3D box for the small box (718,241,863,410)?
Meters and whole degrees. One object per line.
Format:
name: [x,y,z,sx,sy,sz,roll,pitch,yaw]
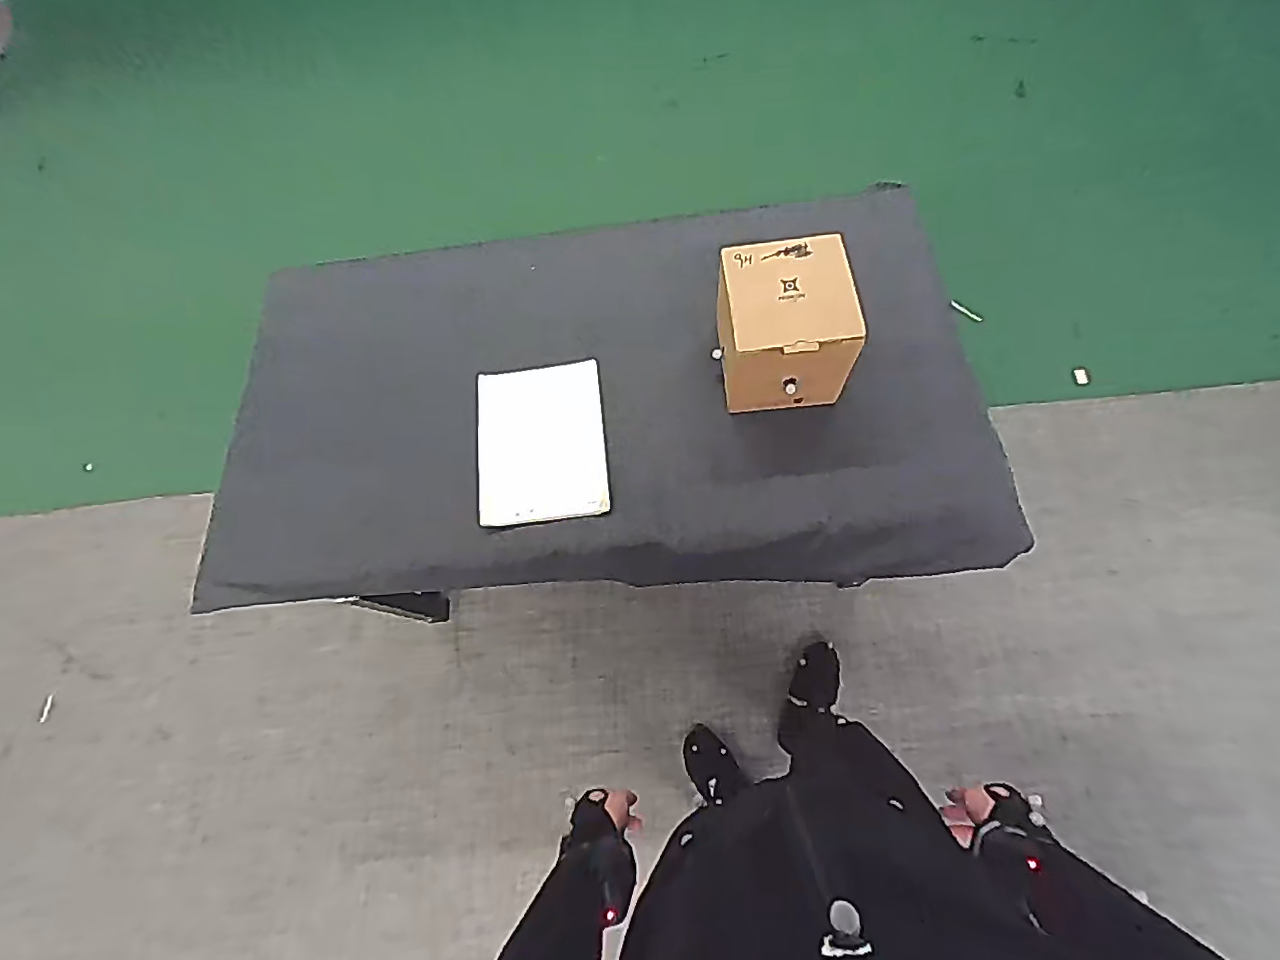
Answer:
small box: [0.207,-0.214,0.794,0.168,0.176,0.179,-5,70,4]
